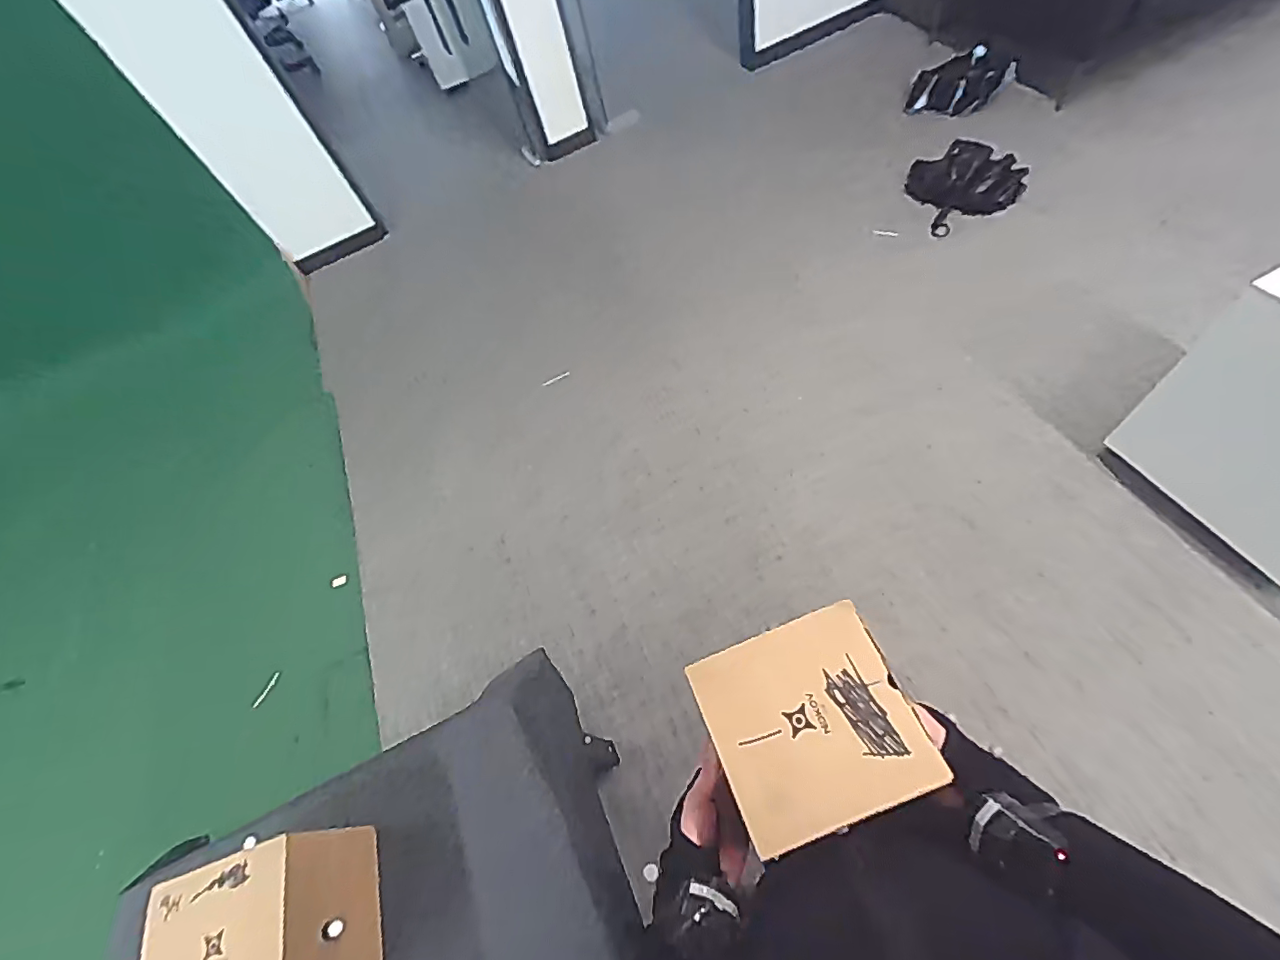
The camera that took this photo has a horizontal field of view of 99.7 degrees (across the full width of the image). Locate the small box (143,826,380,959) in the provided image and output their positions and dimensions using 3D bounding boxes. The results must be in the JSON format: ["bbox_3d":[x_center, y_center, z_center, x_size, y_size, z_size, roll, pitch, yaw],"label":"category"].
[{"bbox_3d":[-0.426,0.531,0.630,0.168,0.176,0.179,-21,59,-1],"label":"small box"}]
